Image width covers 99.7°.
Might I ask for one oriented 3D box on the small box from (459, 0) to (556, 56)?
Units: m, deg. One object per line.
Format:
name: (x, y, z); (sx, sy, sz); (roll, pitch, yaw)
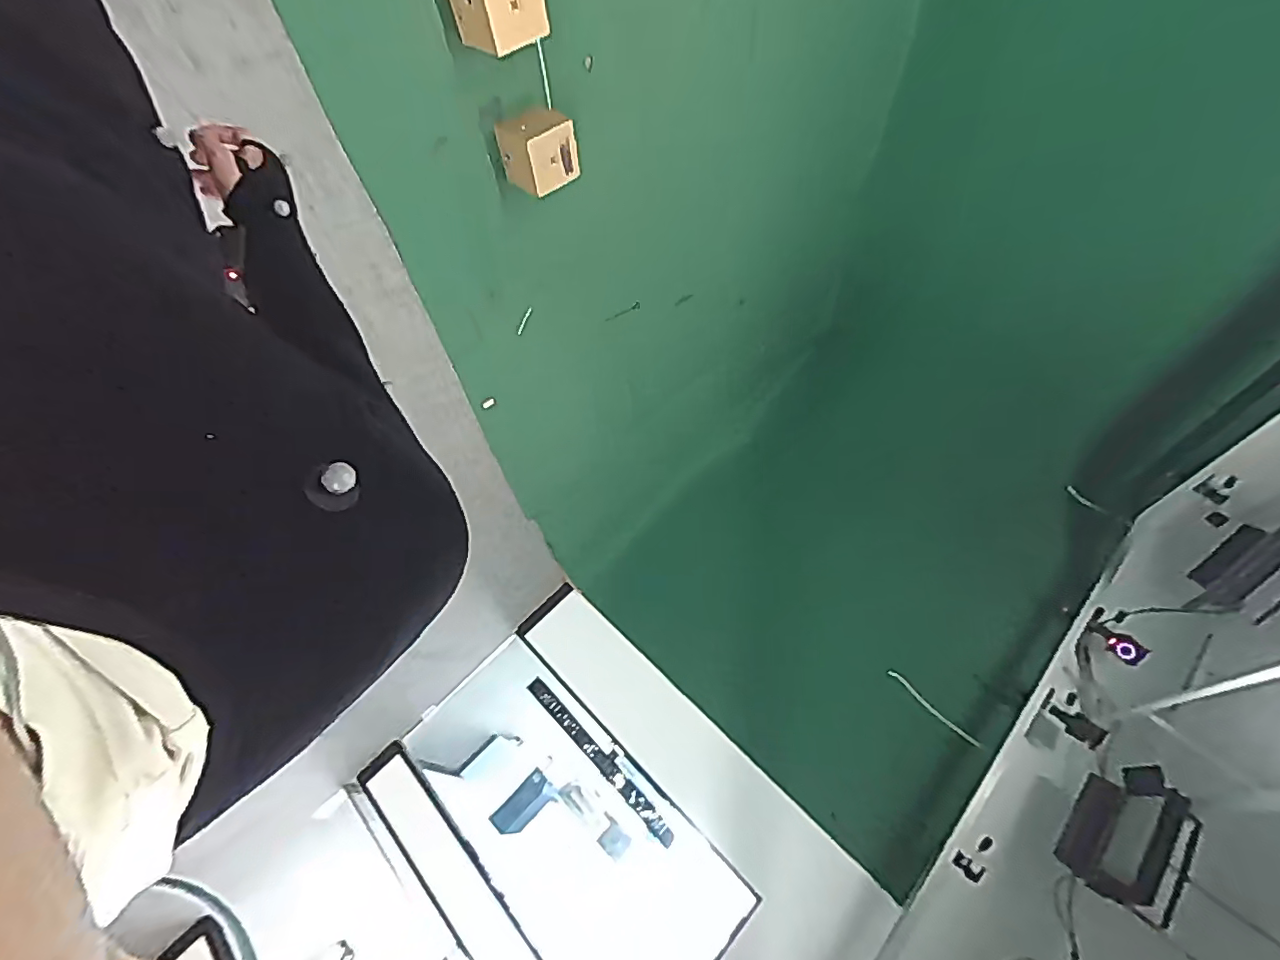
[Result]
small box: (-0.342, -1.202, 1.350); (0.179, 0.176, 0.168); (-42, 152, -19)
